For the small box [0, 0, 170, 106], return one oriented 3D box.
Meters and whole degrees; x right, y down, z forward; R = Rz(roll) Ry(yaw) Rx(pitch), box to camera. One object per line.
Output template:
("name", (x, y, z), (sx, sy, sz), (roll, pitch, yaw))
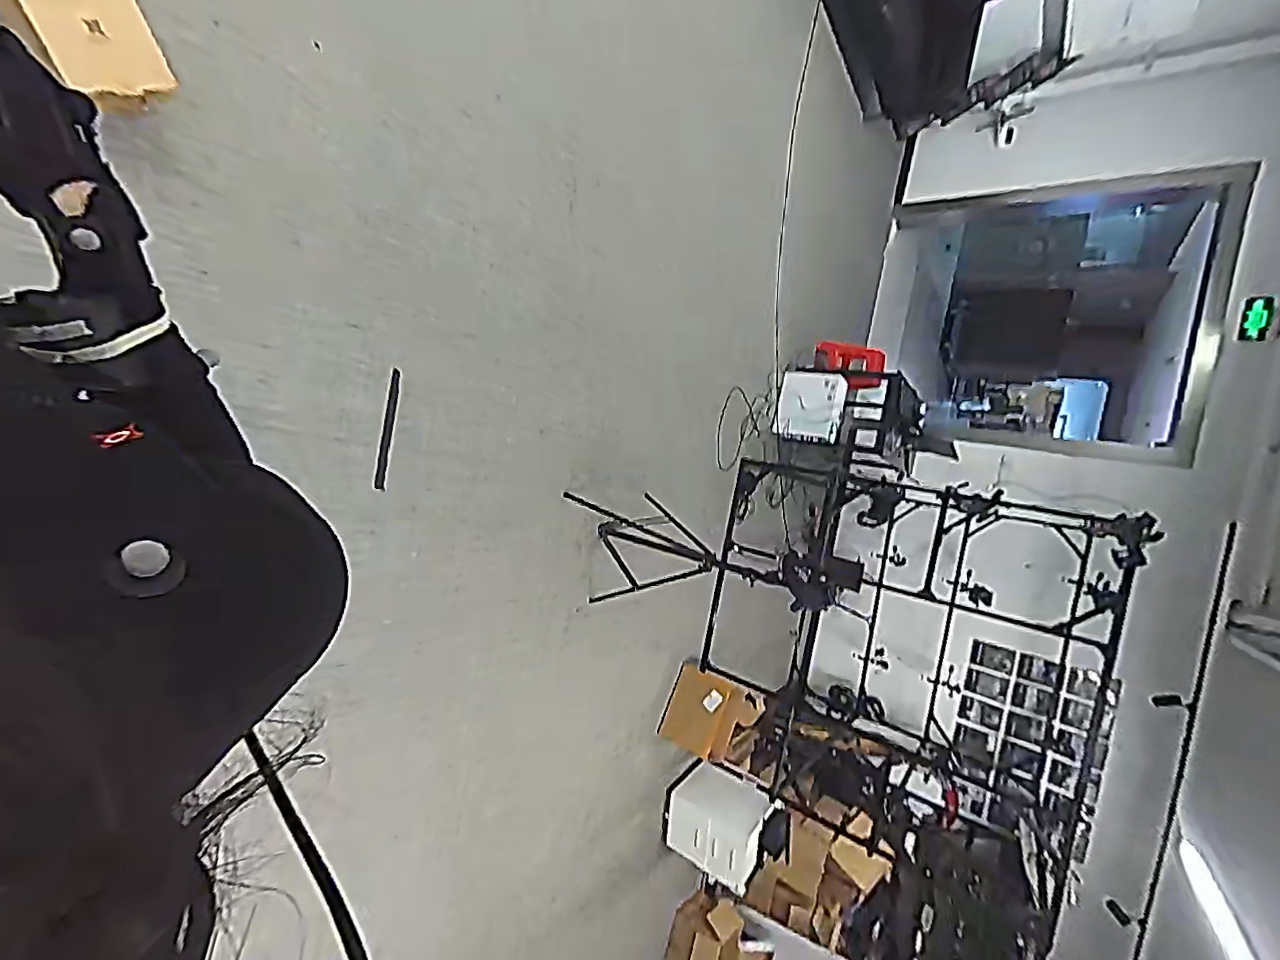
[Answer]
("small box", (-0.990, -0.775, 0.948), (0.168, 0.176, 0.179), (-43, 132, -42))
